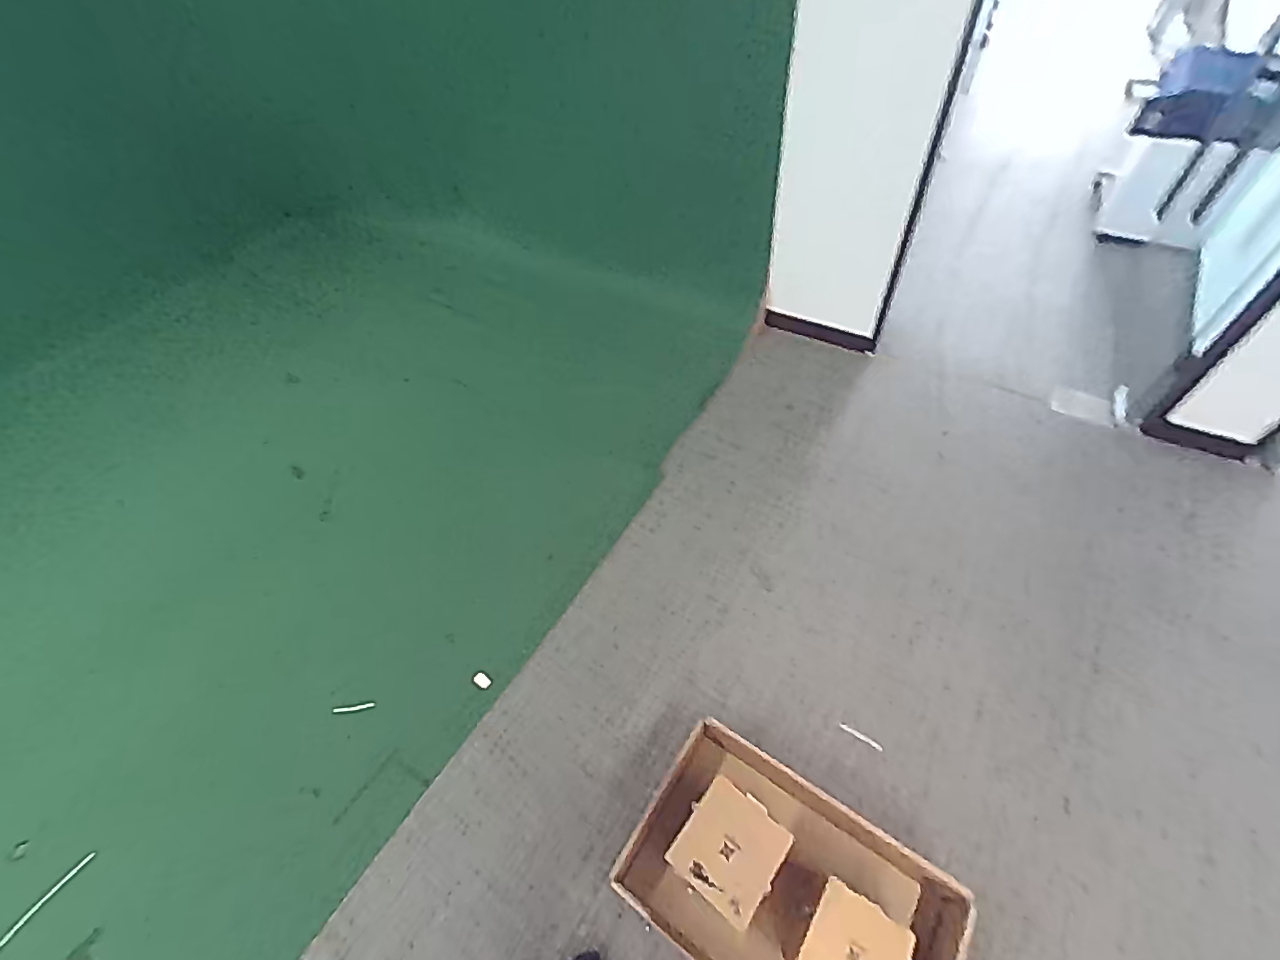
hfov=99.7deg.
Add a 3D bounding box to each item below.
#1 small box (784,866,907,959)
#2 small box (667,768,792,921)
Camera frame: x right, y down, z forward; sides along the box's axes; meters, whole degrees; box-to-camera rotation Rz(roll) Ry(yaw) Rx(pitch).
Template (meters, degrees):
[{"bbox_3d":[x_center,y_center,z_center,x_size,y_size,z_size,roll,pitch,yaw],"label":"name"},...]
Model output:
[{"bbox_3d":[0.397,0.909,1.070,0.168,0.176,0.179,26,60,24],"label":"small box"},{"bbox_3d":[0.165,0.698,1.044,0.168,0.176,0.179,32,62,25],"label":"small box"}]
